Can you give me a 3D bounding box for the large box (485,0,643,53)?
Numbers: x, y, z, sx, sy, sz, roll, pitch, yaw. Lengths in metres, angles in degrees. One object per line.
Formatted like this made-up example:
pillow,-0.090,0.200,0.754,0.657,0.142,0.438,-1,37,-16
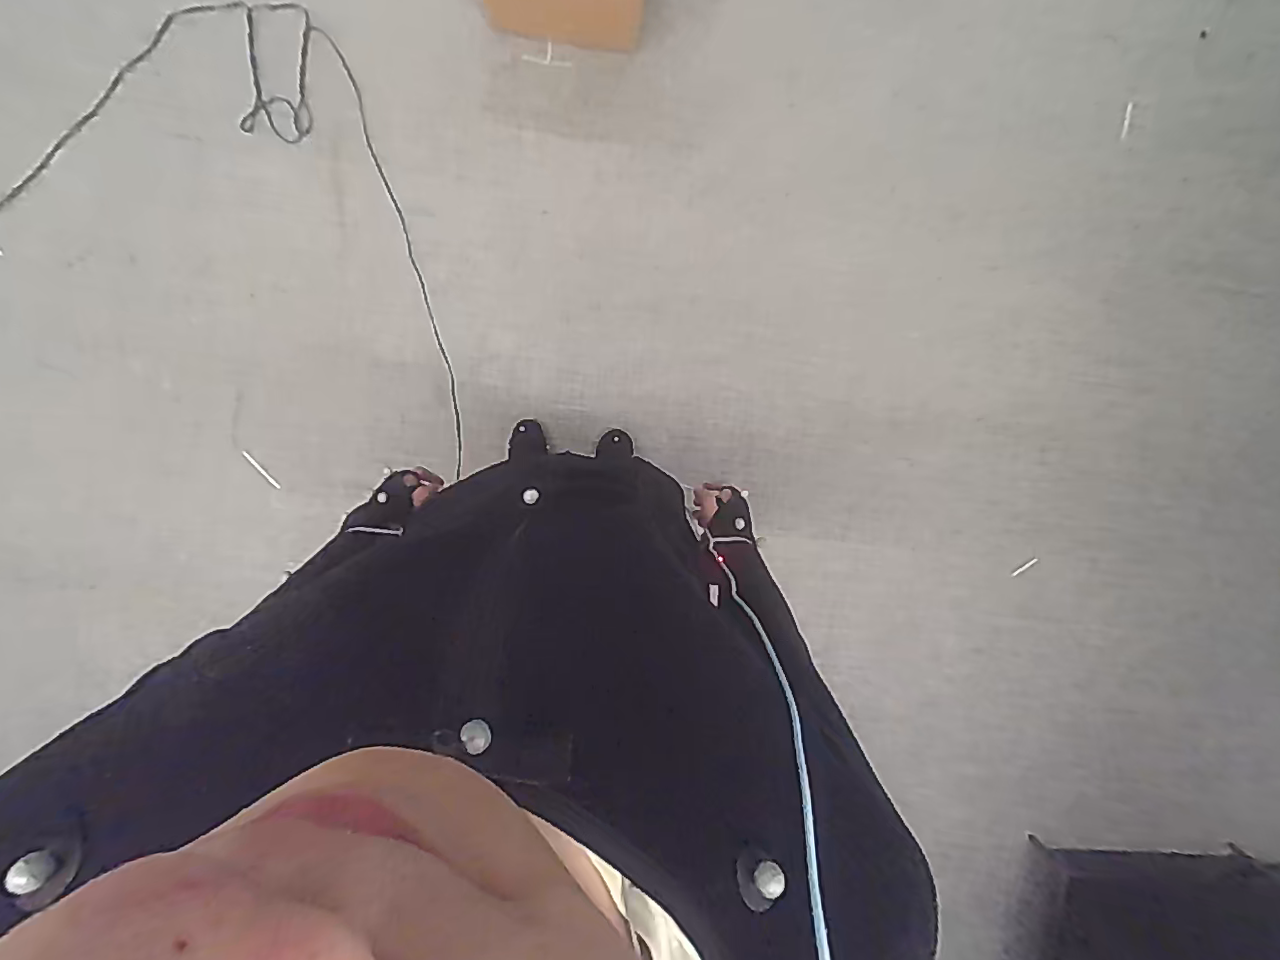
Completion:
large box,-0.187,-1.345,1.345,0.408,0.320,0.320,4,96,-6
